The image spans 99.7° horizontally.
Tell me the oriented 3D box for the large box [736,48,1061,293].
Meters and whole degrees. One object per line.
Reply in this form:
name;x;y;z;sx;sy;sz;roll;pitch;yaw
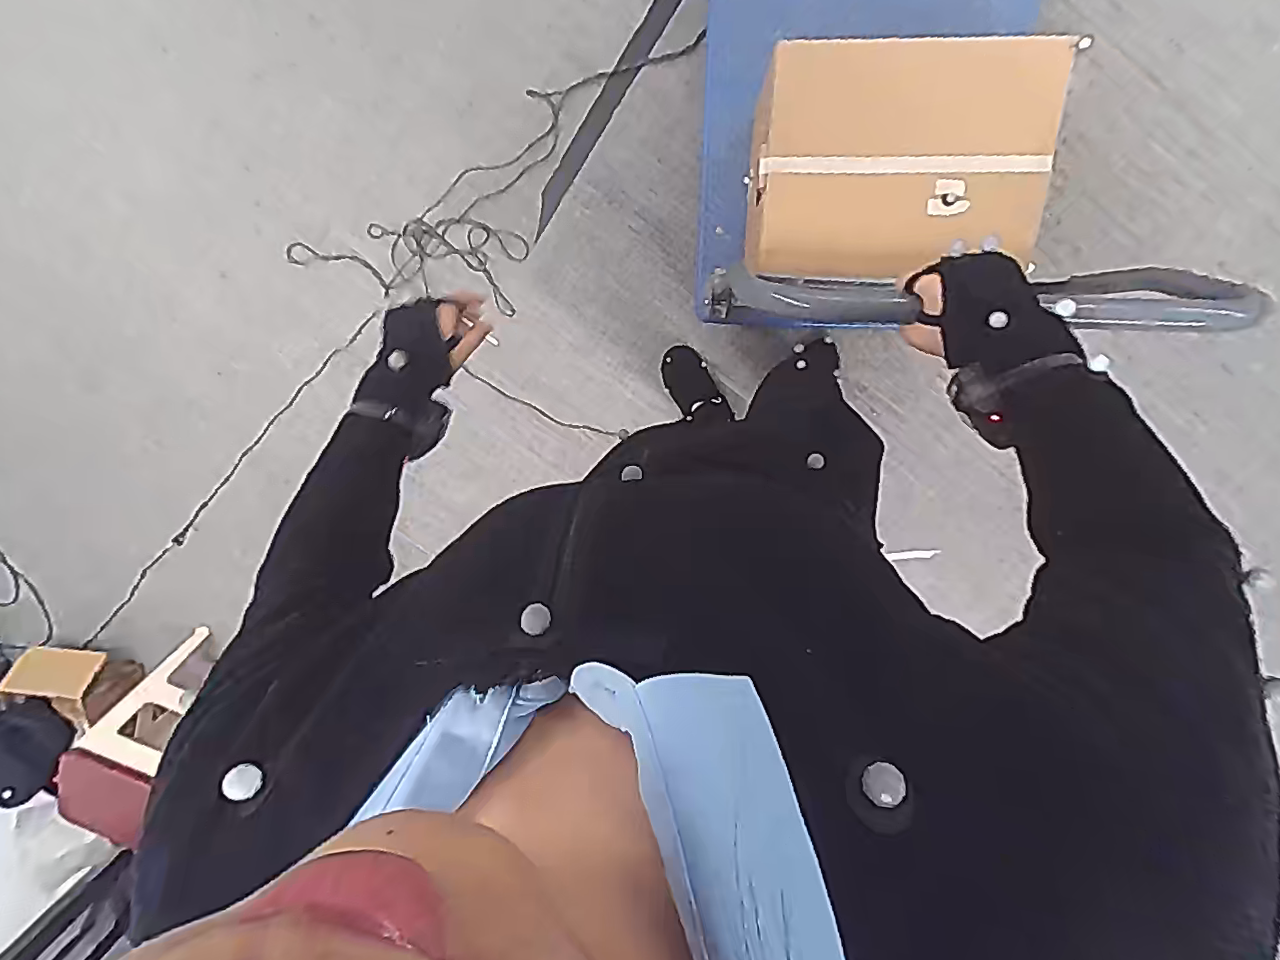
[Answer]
large box;0.386;-0.493;0.936;0.408;0.320;0.320;3;108;4
